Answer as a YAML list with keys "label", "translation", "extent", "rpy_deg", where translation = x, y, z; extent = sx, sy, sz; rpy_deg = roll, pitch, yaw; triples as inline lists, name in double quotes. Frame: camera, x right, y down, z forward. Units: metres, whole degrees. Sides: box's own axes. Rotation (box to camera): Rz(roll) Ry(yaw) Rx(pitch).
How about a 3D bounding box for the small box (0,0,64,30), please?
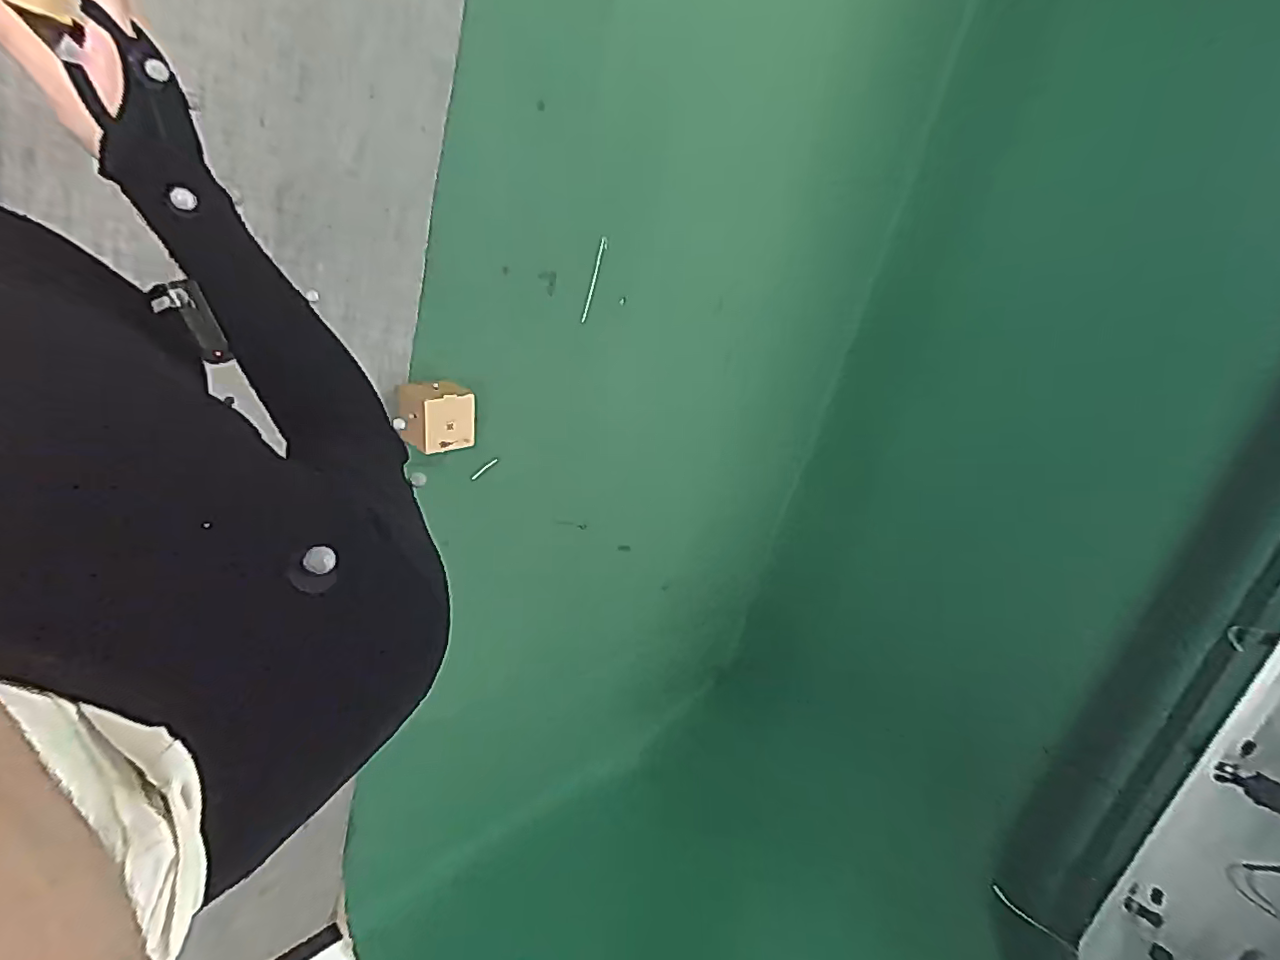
- label: "small box"
  translation: [-0.472, -0.417, 0.320]
  extent: [0.168, 0.176, 0.179]
  rpy_deg: [-5, 116, -48]

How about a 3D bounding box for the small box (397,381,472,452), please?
- label: "small box"
  translation: [-0.644, -0.206, 1.692]
  extent: [0.168, 0.176, 0.179]
  rpy_deg: [-16, 124, -45]
